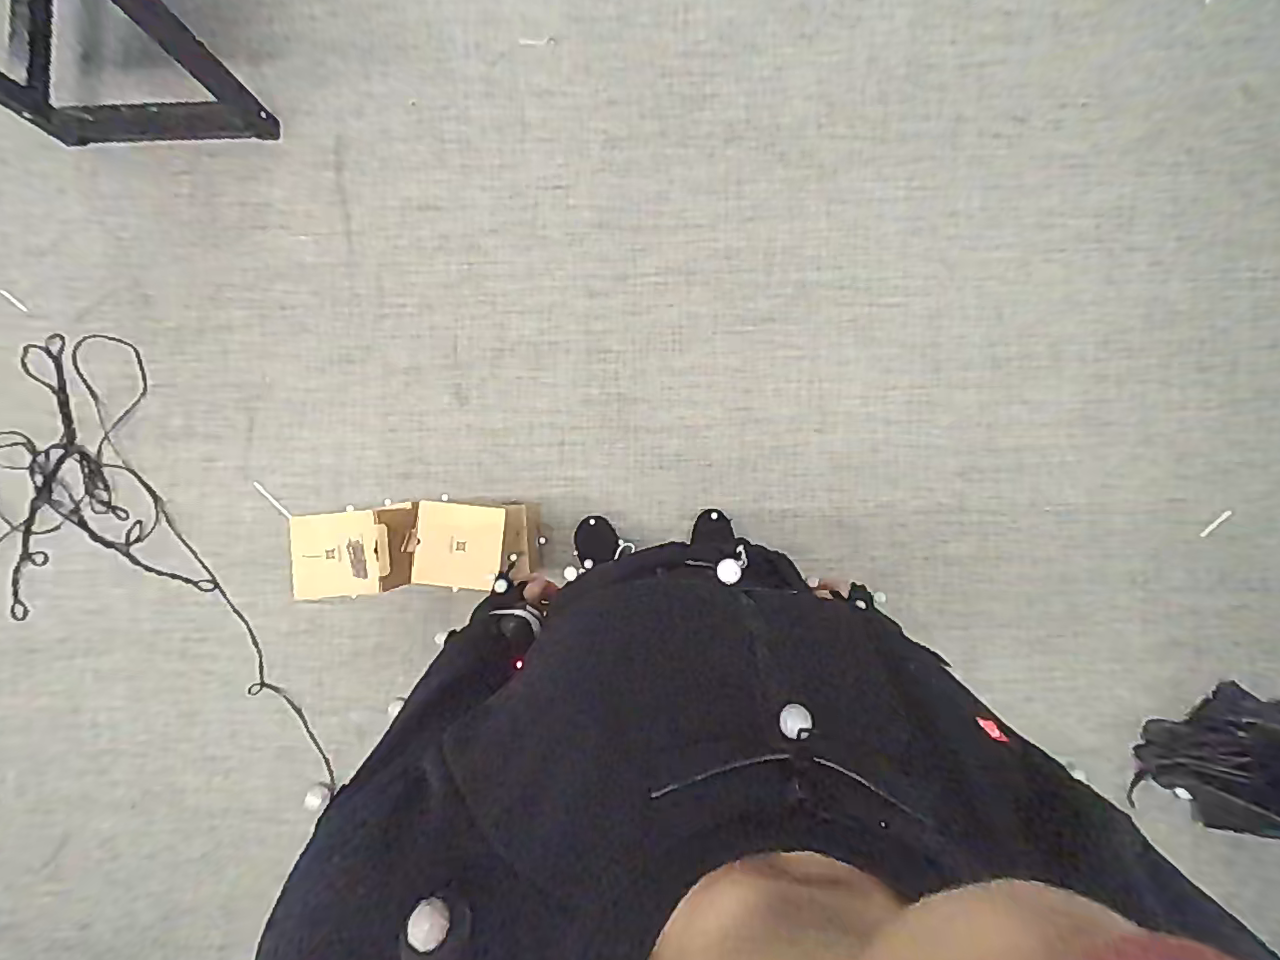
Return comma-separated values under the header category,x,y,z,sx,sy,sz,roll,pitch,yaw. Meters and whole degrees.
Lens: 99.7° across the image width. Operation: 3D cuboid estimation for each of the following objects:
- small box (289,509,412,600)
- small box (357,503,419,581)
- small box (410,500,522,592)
category,x,y,z,sx,sy,sz,roll,pitch,yaw
small box,-0.592,0.150,1.130,0.179,0.176,0.168,-5,87,2
small box,-0.579,0.151,1.295,0.168,0.176,0.179,-10,87,1
small box,-0.353,0.130,1.132,0.179,0.176,0.168,5,89,1
